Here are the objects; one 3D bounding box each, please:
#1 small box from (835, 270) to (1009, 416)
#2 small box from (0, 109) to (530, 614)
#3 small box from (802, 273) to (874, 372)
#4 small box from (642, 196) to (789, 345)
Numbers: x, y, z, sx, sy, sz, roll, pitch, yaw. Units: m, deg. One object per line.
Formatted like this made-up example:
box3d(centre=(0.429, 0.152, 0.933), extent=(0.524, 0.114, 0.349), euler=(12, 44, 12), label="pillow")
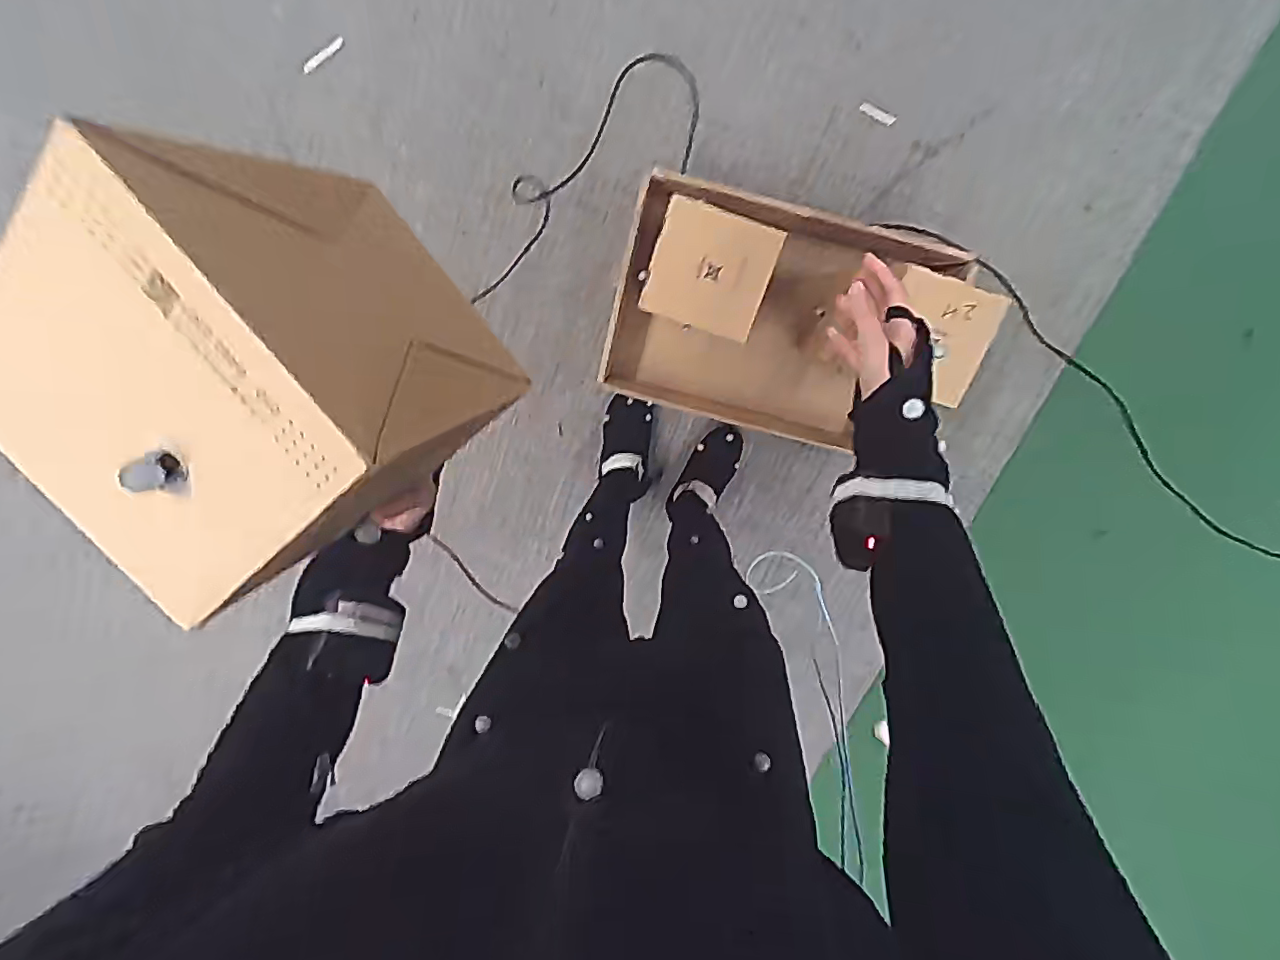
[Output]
box3d(centre=(0.446, -0.227, 0.893), extent=(0.168, 0.176, 0.179), euler=(19, 107, -5), label="small box")
box3d(centre=(-0.198, -0.065, 0.308), extent=(0.176, 0.179, 0.168), euler=(-34, 100, 23), label="small box")
box3d(centre=(0.438, -0.284, 1.048), extent=(0.179, 0.176, 0.168), euler=(19, 107, -4), label="small box")
box3d(centre=(0.112, -0.331, 0.876), extent=(0.179, 0.176, 0.168), euler=(19, 109, -5), label="small box")
